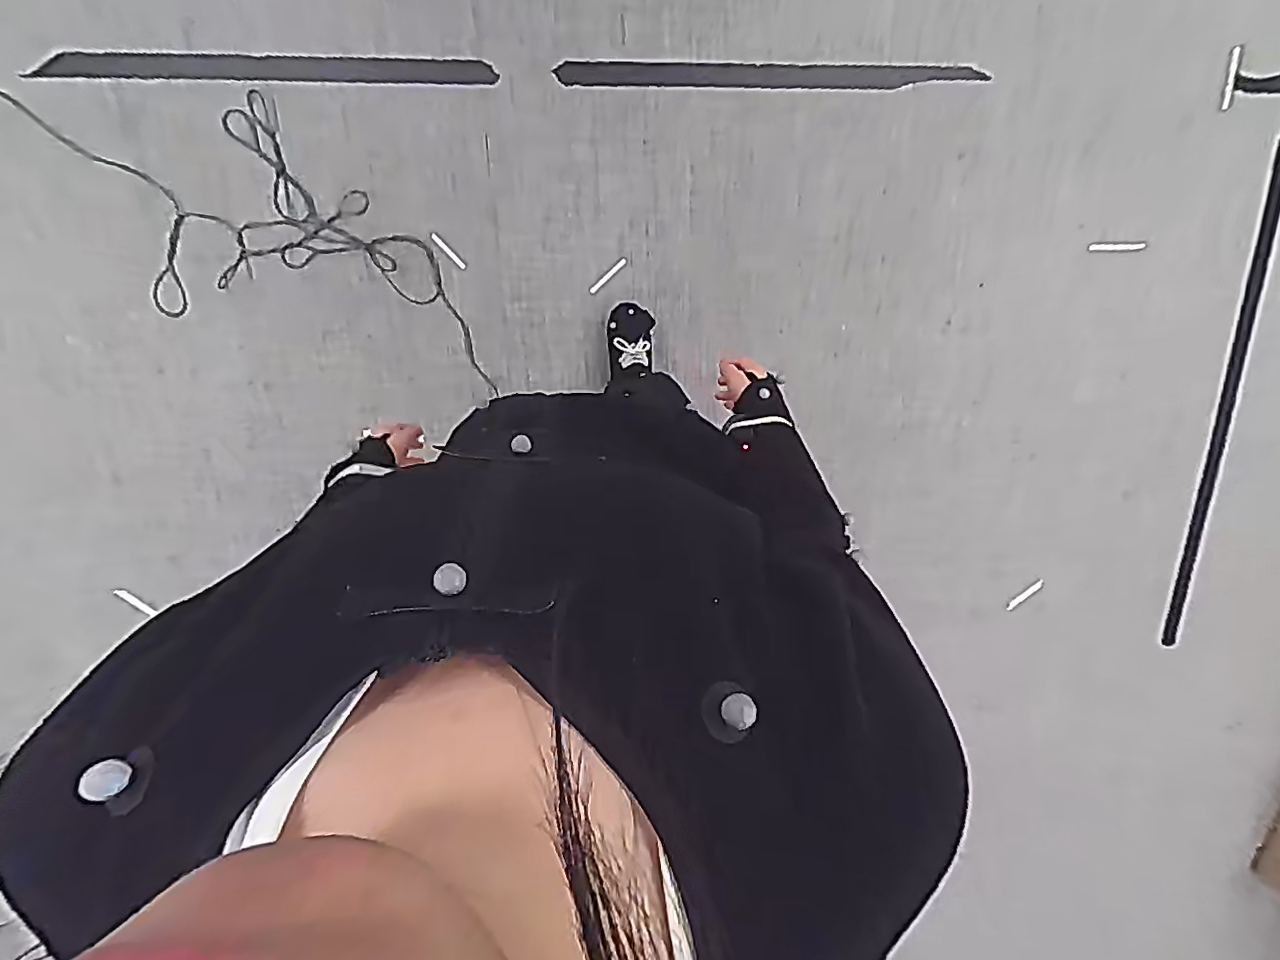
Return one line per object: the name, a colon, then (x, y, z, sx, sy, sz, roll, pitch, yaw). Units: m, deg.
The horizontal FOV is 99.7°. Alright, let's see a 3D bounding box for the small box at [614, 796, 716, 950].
small box: (0.039, 0.723, 1.011, 0.168, 0.176, 0.179, 3, 104, -4)
